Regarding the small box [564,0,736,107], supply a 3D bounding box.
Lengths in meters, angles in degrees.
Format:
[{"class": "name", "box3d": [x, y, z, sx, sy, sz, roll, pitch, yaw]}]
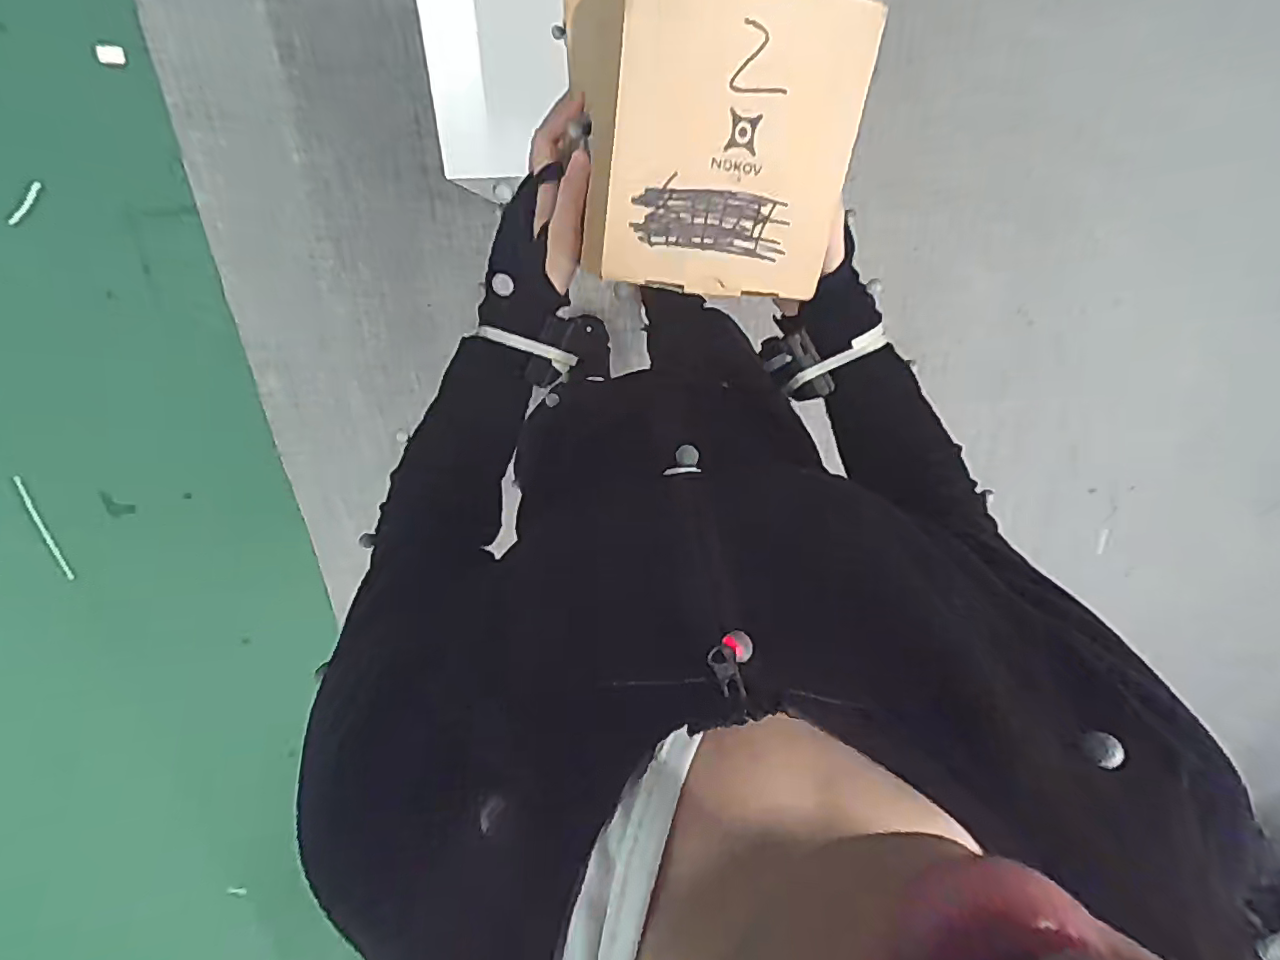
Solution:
[{"class": "small box", "box3d": [0.002, -0.521, 0.572, 0.168, 0.176, 0.179, -4, 113, -5]}]
